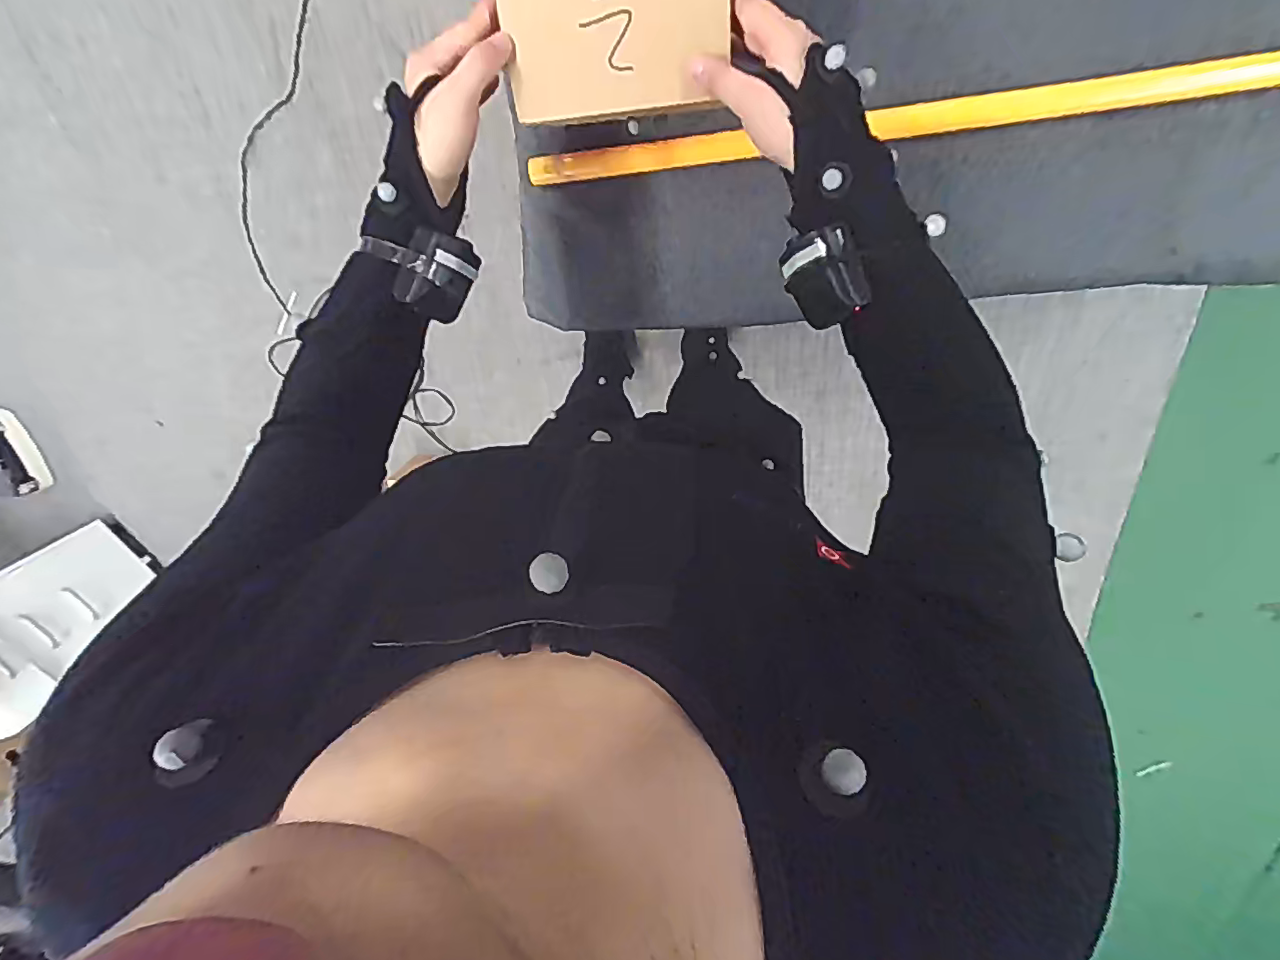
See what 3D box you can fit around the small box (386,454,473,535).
[{"bbox_3d":[-0.608,0.041,1.587,0.168,0.176,0.179,2,118,6],"label":"small box"}]
